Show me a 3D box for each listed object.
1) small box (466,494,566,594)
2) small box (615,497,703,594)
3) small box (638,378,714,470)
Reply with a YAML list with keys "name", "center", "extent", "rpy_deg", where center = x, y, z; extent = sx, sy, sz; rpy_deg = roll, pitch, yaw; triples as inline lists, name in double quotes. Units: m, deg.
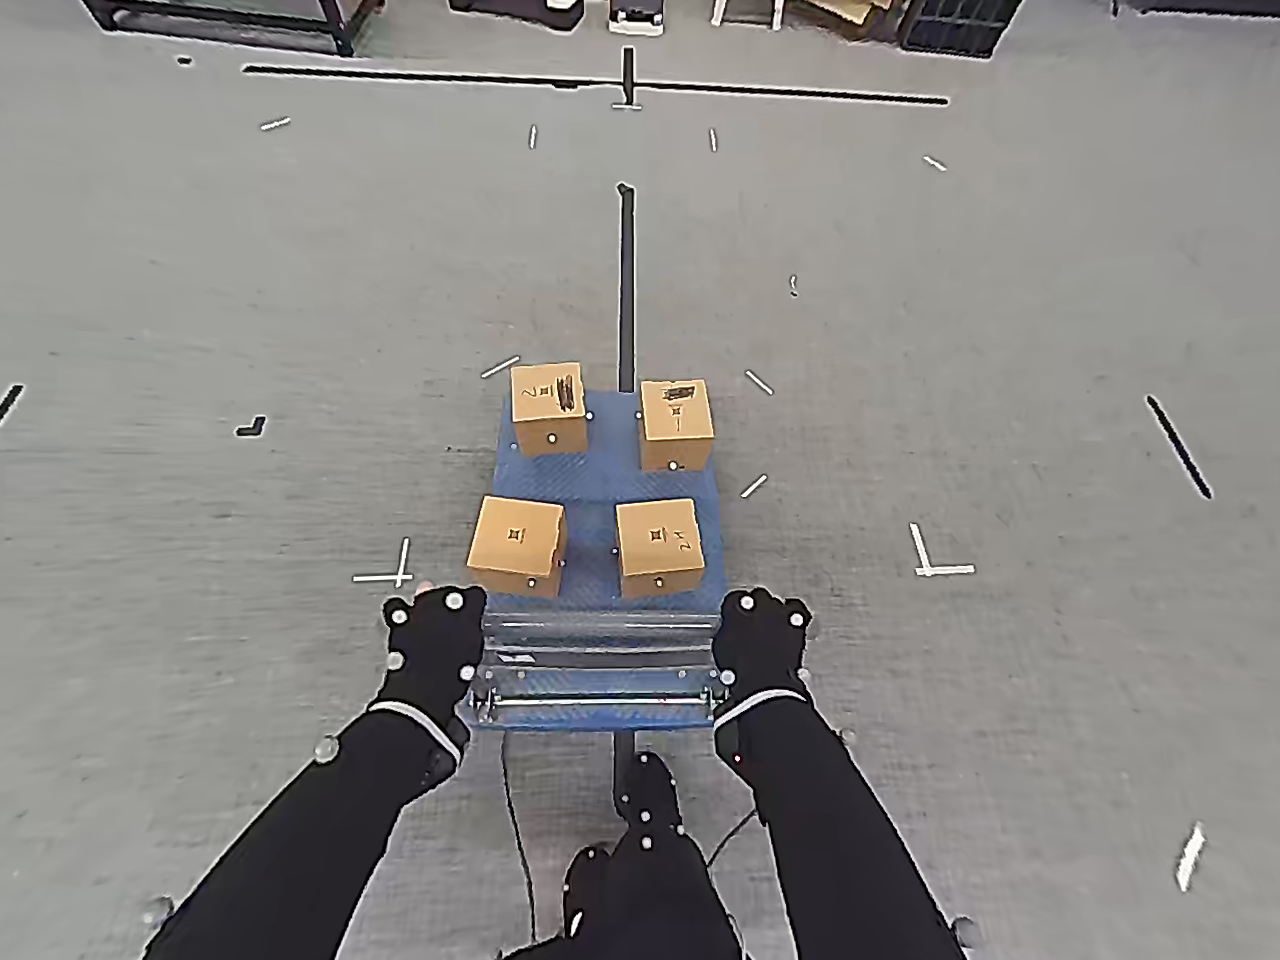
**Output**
- name: "small box"
  center: [-0.268, 0.148, 1.215]
  extent: [0.179, 0.176, 0.168]
  rpy_deg: [7, 62, -1]
- name: "small box"
  center: [0.036, 0.153, 1.230]
  extent: [0.179, 0.176, 0.168]
  rpy_deg: [-4, 63, -5]
- name: "small box"
  center: [0.085, -0.141, 1.388]
  extent: [0.168, 0.176, 0.179]
  rpy_deg: [-2, 63, -5]
